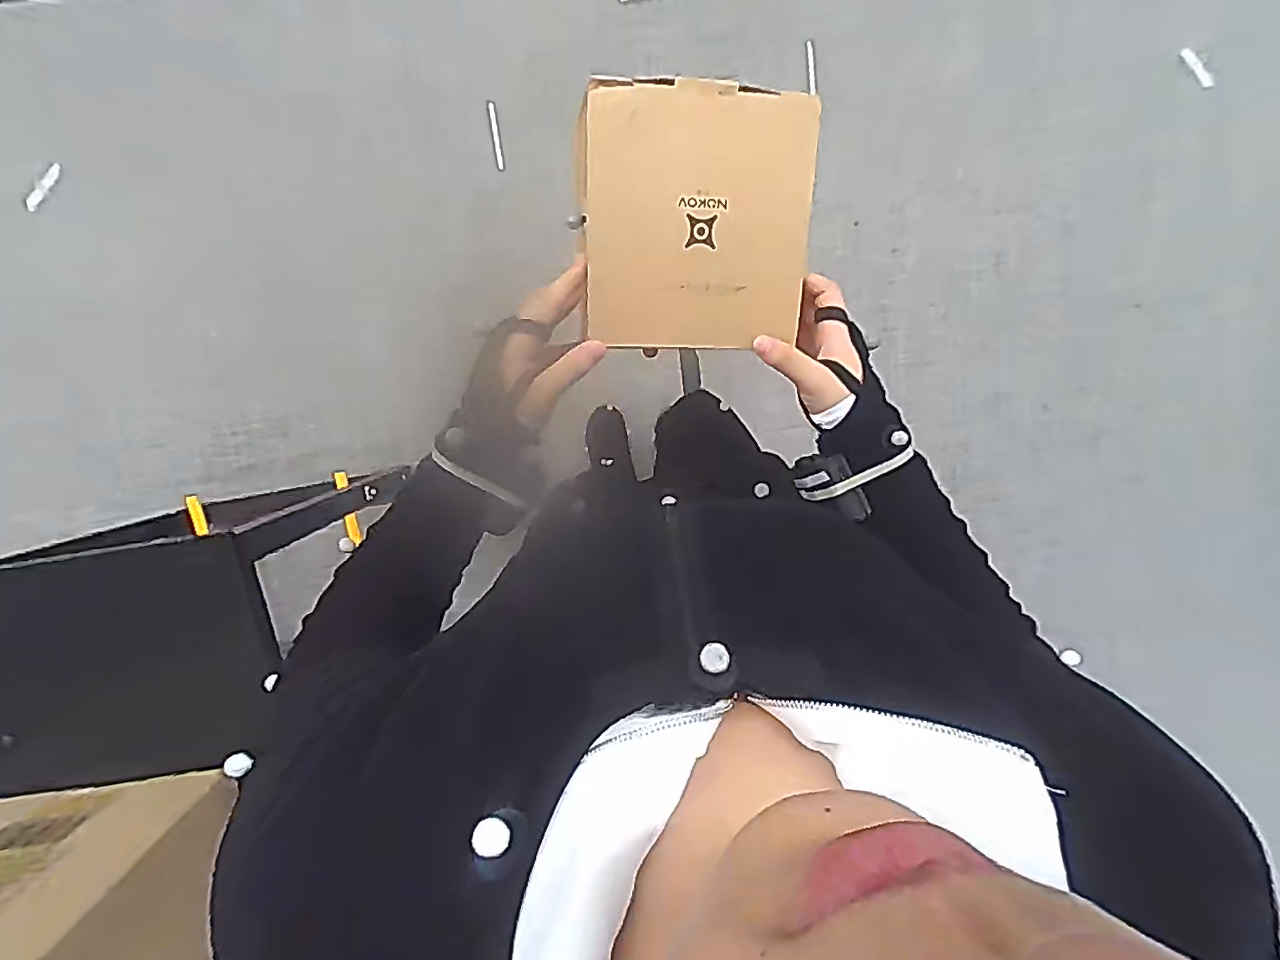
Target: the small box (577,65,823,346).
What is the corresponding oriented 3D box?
[{"bbox_3d":[0.032,-0.210,0.461,0.168,0.176,0.179,-1,108,-8],"label":"small box"}]
